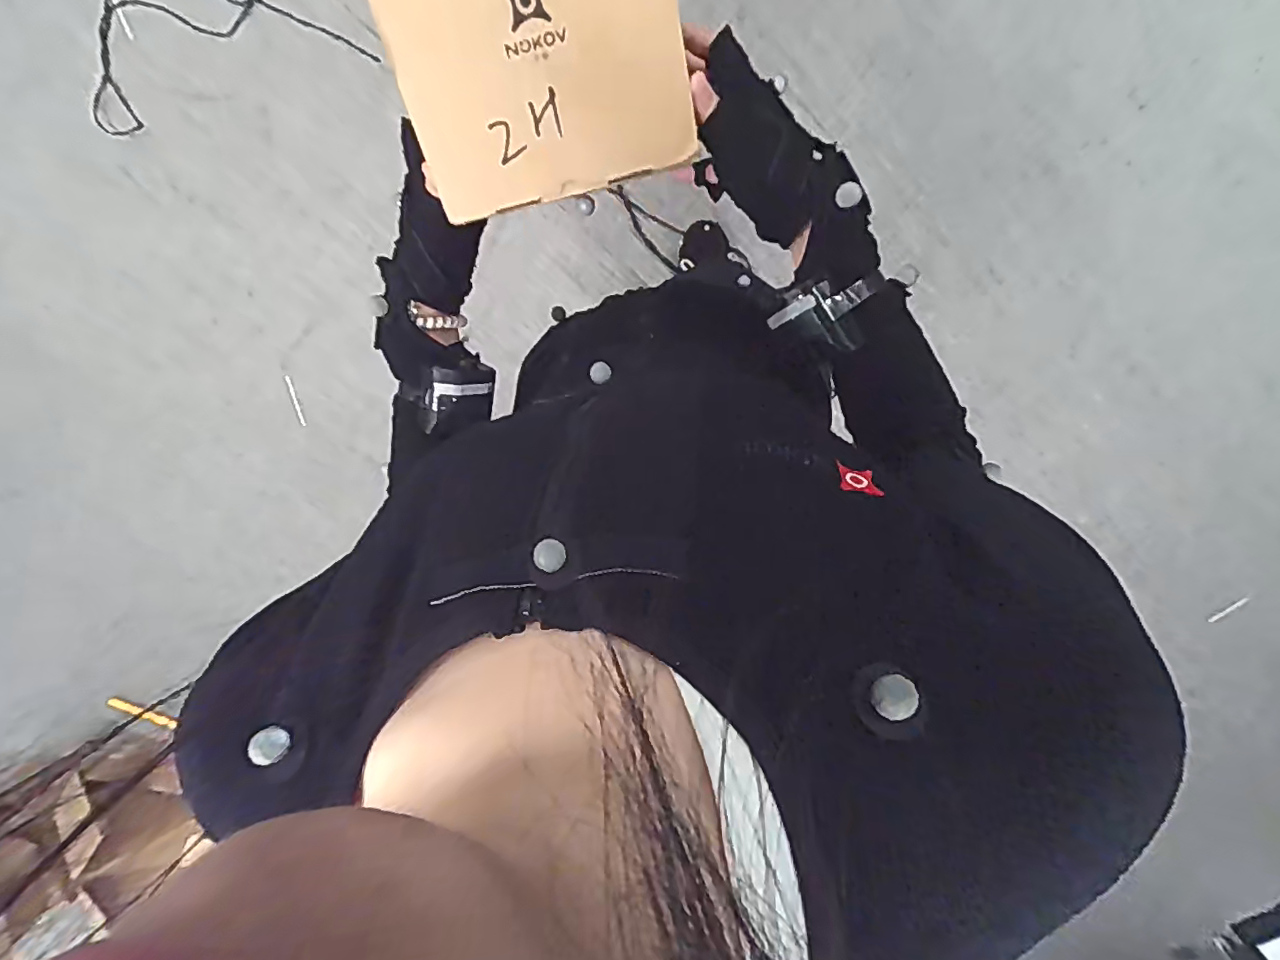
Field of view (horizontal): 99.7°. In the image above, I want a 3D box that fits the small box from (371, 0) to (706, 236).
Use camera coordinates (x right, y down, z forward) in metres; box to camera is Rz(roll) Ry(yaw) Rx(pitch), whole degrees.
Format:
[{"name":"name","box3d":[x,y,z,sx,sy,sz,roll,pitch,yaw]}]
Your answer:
[{"name":"small box","box3d":[-0.060,-0.281,0.366,0.168,0.176,0.179,-12,119,4]}]
